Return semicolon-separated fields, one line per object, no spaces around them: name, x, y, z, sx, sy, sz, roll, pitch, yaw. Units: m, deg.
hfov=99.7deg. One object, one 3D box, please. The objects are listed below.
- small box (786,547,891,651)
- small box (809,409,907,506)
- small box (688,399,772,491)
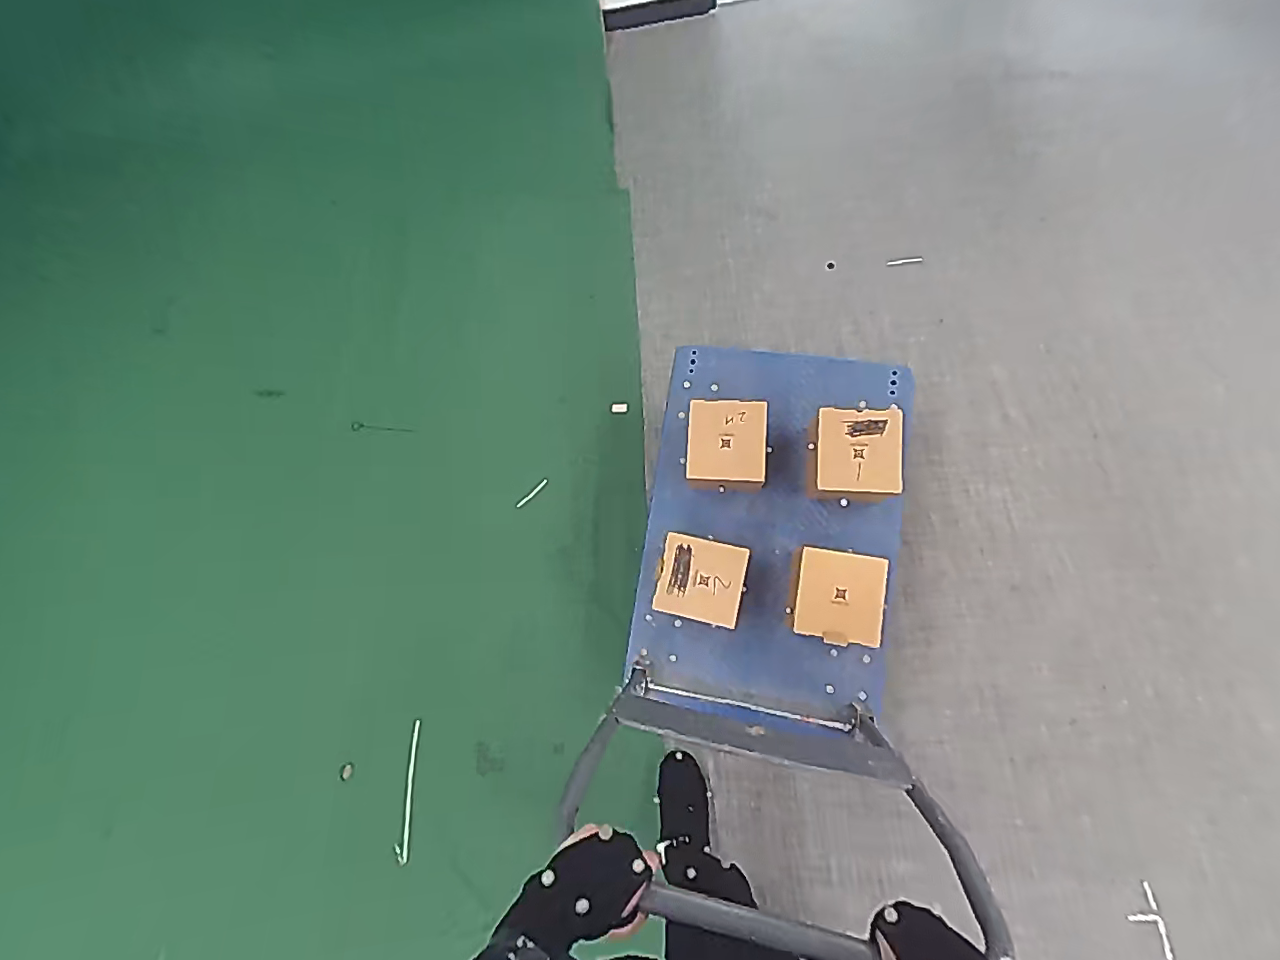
small box;0.410;0.244;1.141;0.168;0.176;0.179;9;83;10
small box;0.467;-0.045;1.177;0.168;0.176;0.179;4;82;10
small box;0.203;-0.072;1.222;0.168;0.176;0.179;4;82;8
